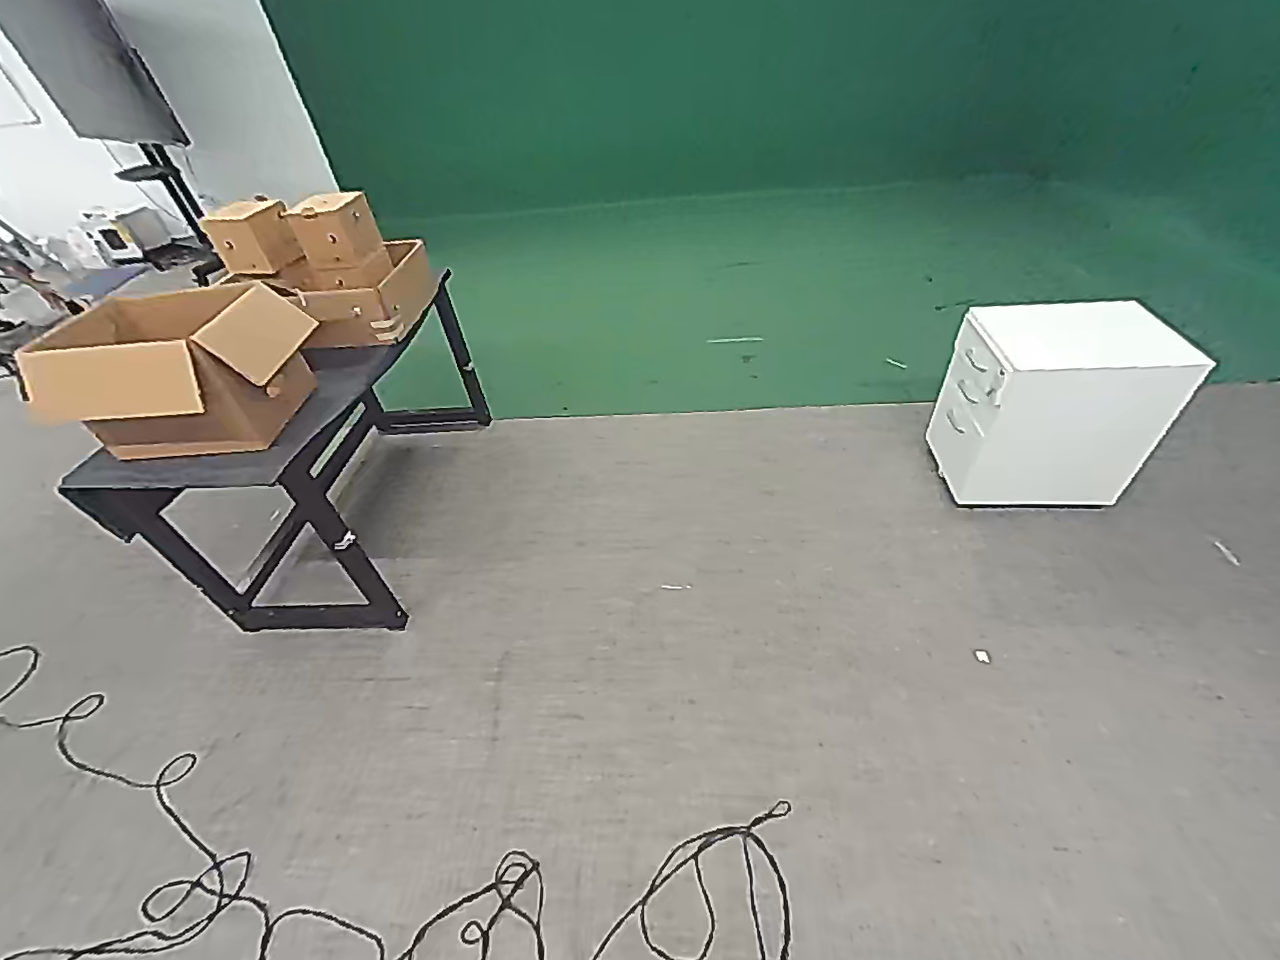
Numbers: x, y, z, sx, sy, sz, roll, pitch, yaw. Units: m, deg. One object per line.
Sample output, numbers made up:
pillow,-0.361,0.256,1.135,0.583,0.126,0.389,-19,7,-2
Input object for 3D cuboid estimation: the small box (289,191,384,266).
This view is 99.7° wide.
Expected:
small box,-0.929,-0.776,1.677,0.168,0.176,0.179,2,44,7

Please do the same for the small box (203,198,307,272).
small box,-1.199,-0.769,1.701,0.168,0.176,0.179,5,44,10
